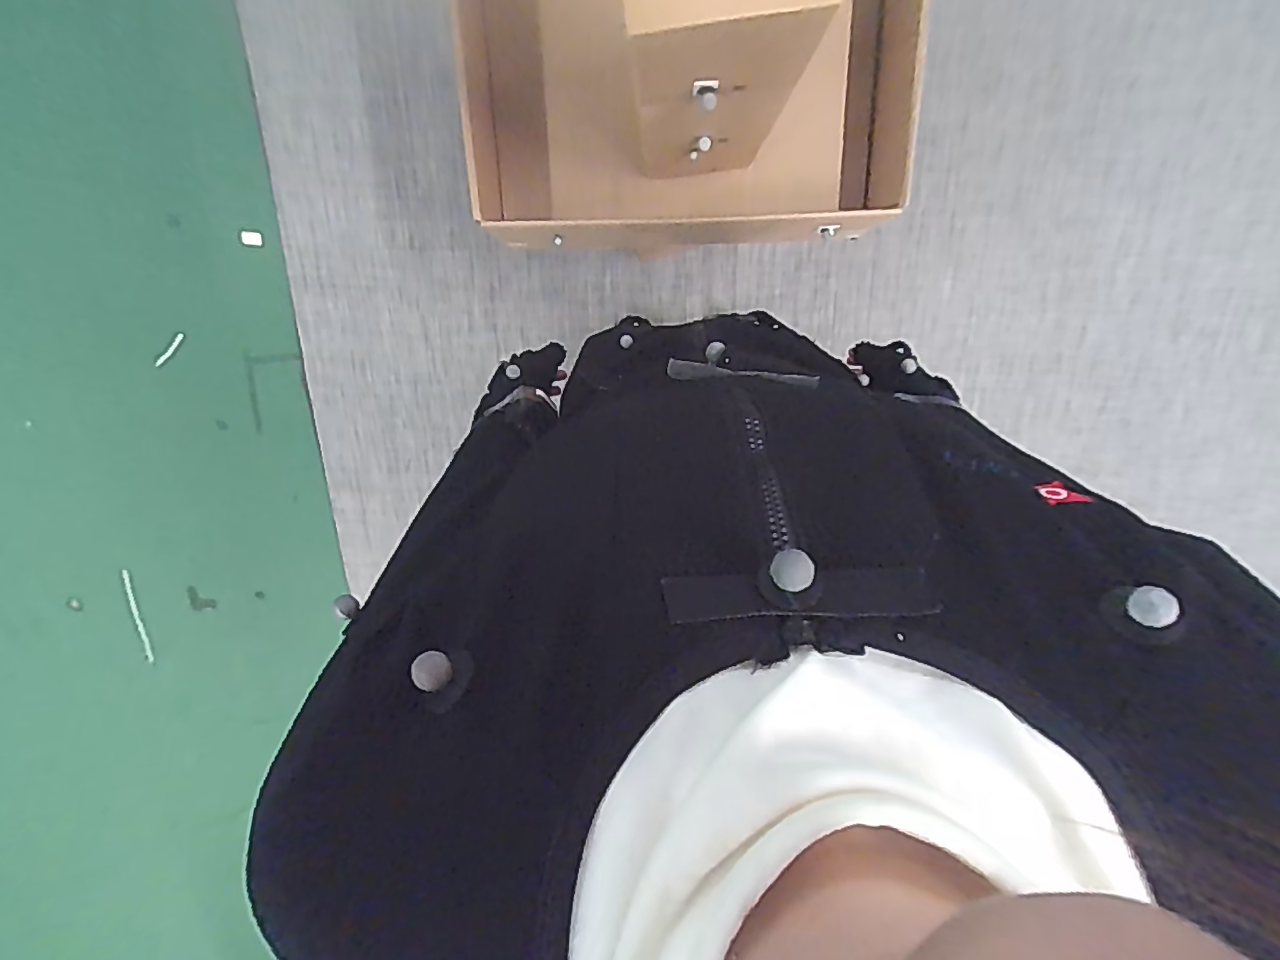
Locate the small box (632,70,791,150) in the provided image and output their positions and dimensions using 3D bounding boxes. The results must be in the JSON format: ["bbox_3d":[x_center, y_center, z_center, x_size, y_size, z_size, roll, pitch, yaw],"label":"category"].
[{"bbox_3d":[0.071,-0.505,0.616,0.168,0.176,0.179,-5,107,4],"label":"small box"}]

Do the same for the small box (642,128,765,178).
[{"bbox_3d":[0.080,-0.557,0.771,0.168,0.176,0.179,-5,106,6],"label":"small box"}]

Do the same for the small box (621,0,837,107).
[{"bbox_3d":[0.064,-0.457,0.462,0.168,0.176,0.179,-5,108,5],"label":"small box"}]
